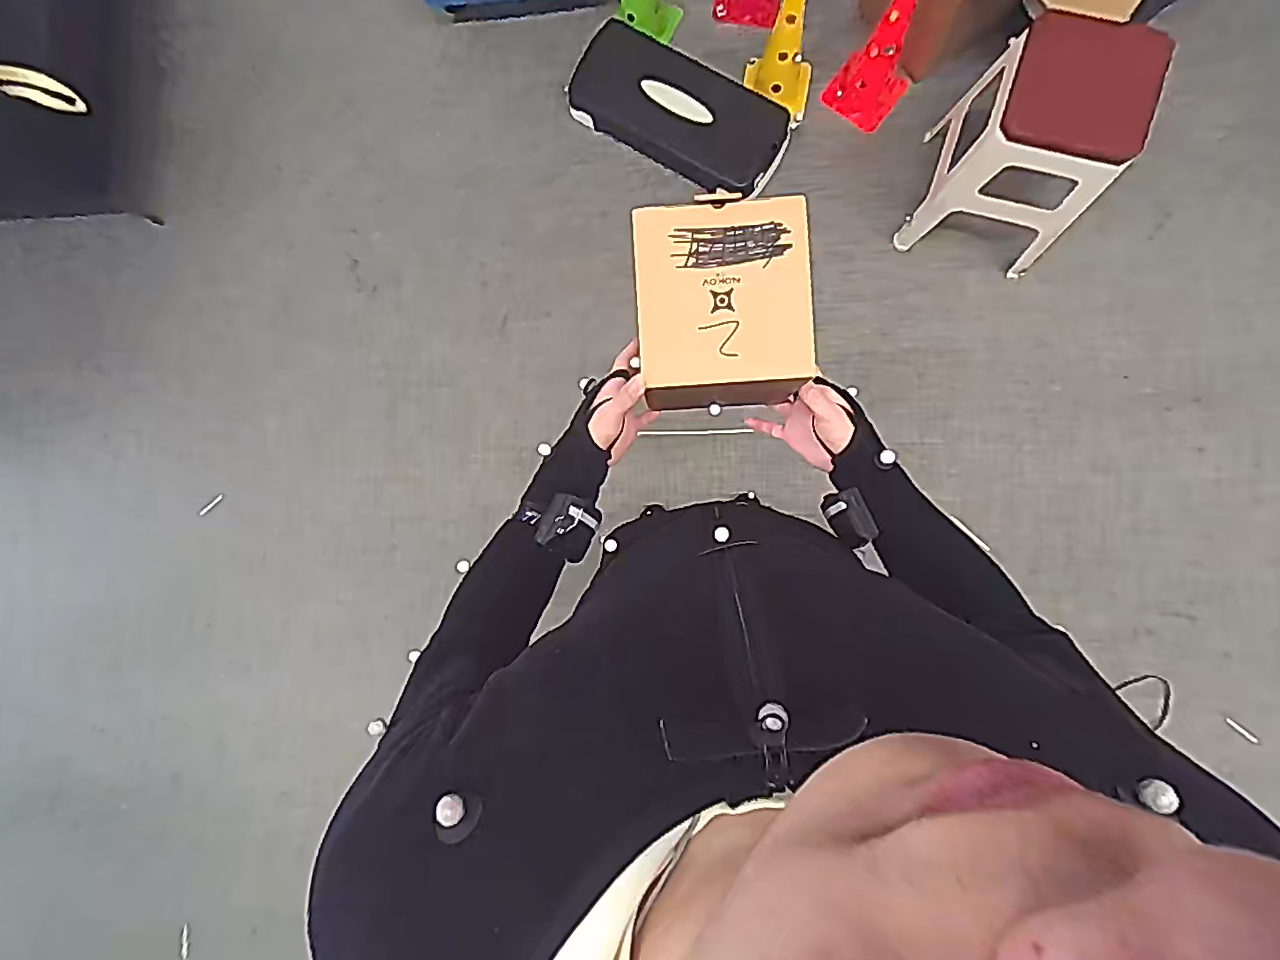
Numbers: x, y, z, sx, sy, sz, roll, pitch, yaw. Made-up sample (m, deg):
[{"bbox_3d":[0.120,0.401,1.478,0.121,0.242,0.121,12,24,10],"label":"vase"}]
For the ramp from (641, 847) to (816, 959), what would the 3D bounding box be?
[{"bbox_3d":[0.248,1.574,1.482,0.509,0.206,0.991,-3,87,7],"label":"ramp"}]
